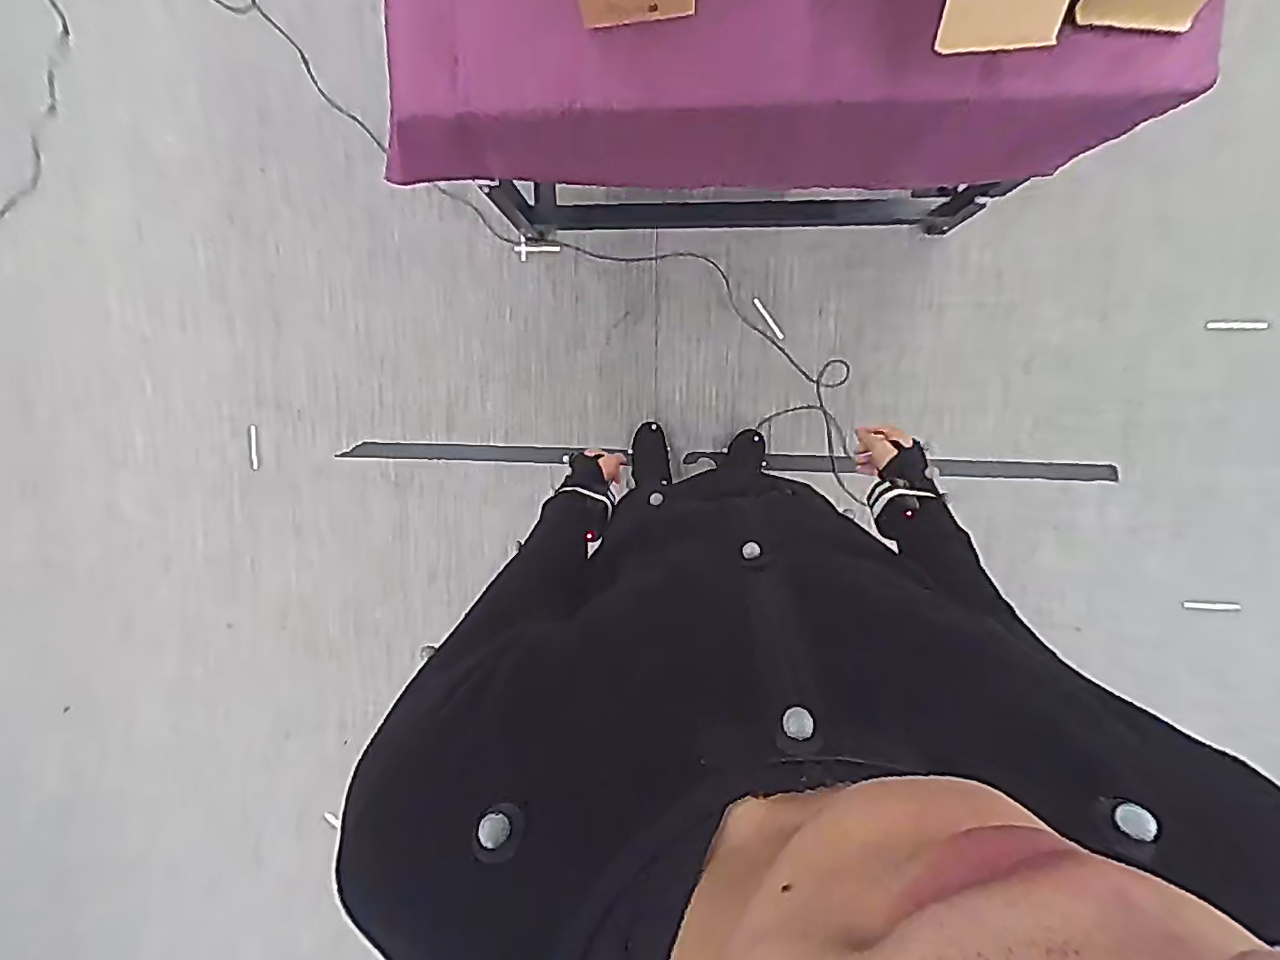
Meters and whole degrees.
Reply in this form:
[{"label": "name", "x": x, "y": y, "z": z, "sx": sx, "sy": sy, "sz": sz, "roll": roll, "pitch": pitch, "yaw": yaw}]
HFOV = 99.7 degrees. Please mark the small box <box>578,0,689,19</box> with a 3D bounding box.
[{"label": "small box", "x": -0.016, "y": -0.764, "z": 0.723, "sx": 0.168, "sy": 0.176, "sz": 0.179, "roll": -4, "pitch": 97, "yaw": 3}]
